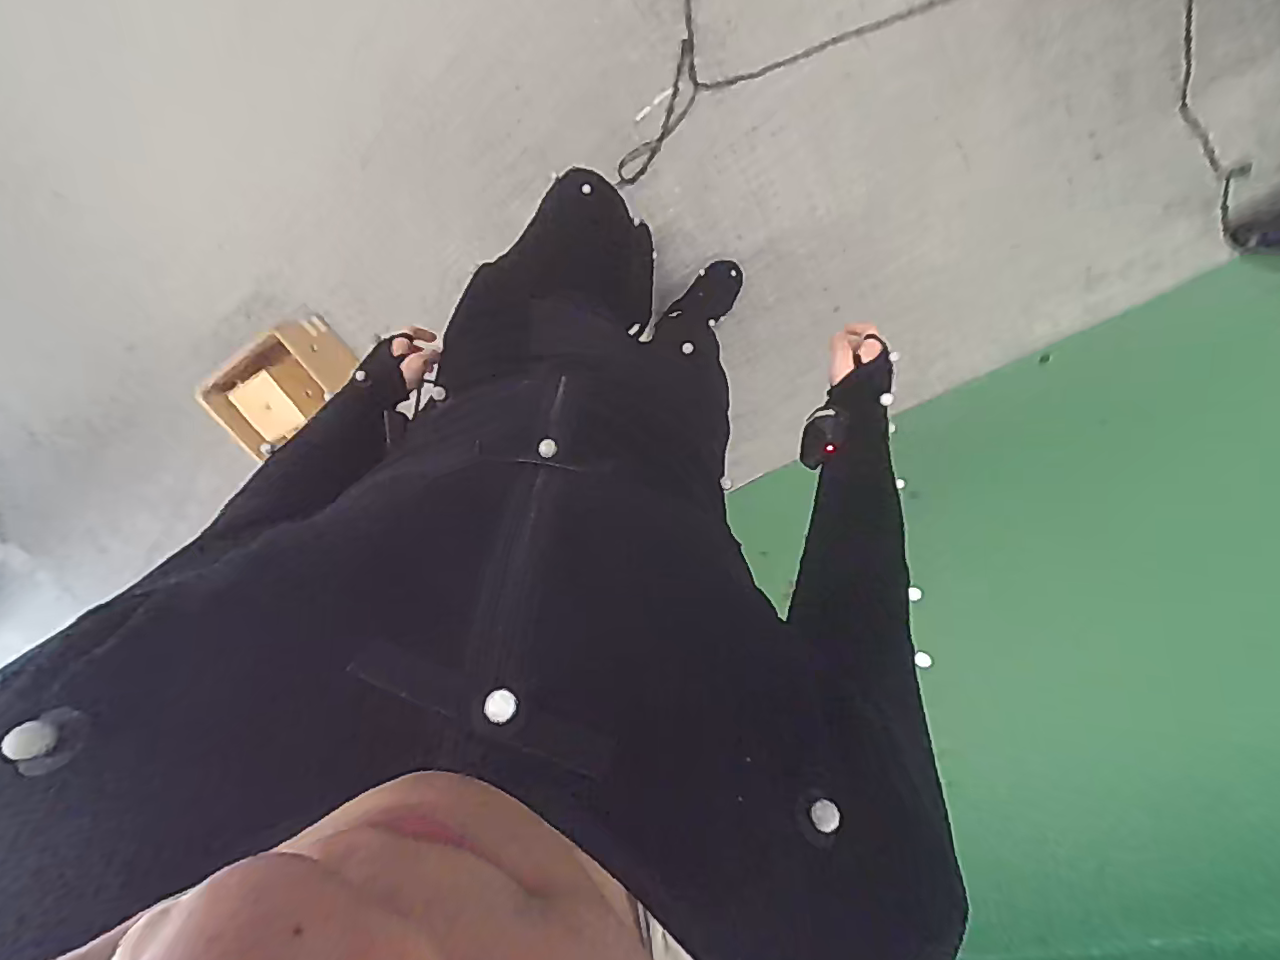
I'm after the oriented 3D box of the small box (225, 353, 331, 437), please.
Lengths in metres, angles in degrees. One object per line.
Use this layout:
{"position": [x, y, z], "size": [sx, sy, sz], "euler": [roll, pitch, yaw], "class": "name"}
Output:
{"position": [-1.067, -0.259, 1.617], "size": [0.179, 0.176, 0.168], "euler": [-22, 113, 20], "class": "small box"}
